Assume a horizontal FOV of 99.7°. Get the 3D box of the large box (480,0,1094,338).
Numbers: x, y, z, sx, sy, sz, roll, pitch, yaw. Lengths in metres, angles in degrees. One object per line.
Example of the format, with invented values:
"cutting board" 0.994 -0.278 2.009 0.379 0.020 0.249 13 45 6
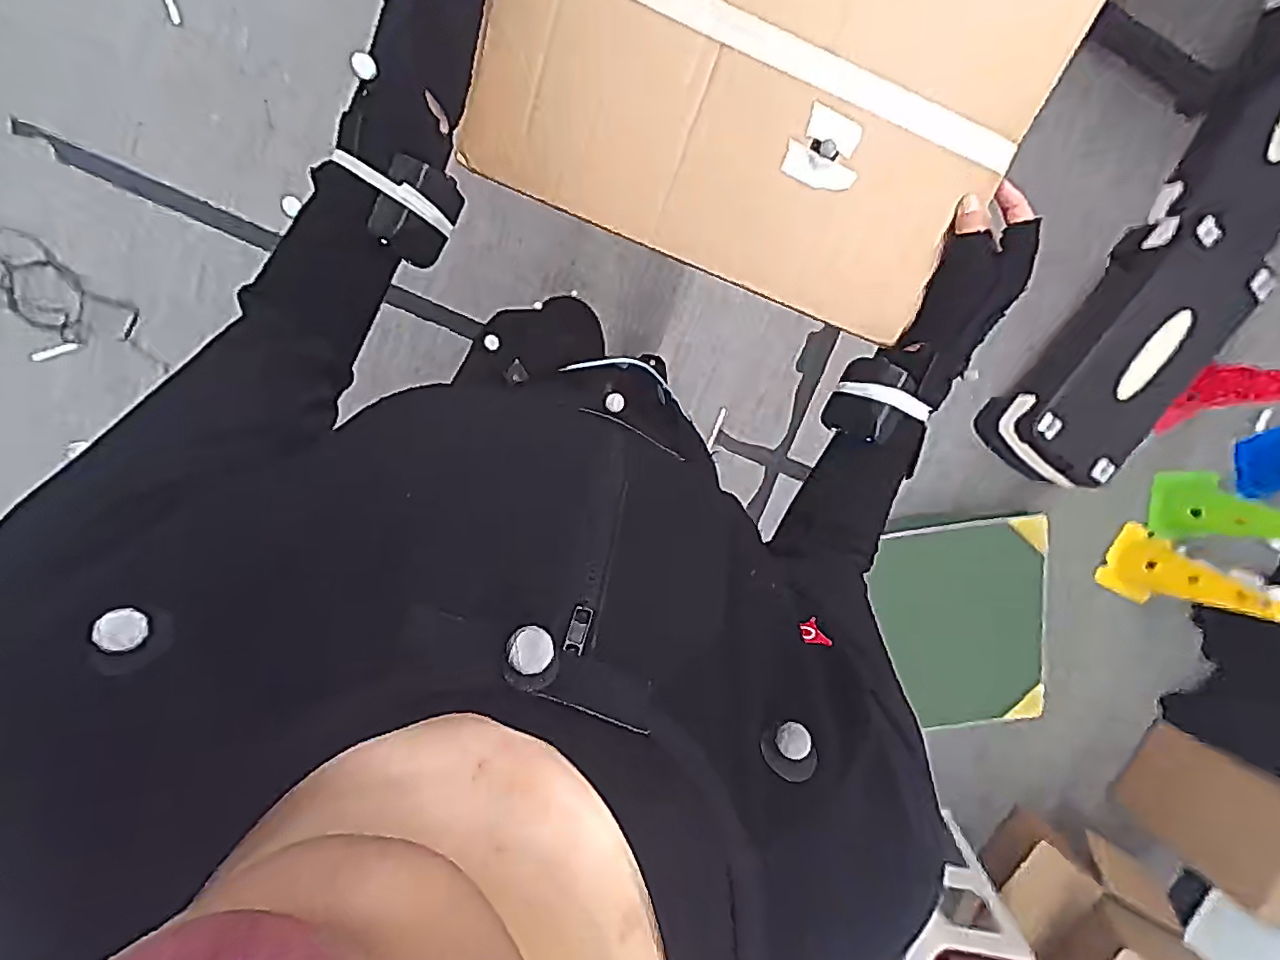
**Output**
"large box" 0.105 -0.381 0.542 0.408 0.320 0.320 20 115 -8
